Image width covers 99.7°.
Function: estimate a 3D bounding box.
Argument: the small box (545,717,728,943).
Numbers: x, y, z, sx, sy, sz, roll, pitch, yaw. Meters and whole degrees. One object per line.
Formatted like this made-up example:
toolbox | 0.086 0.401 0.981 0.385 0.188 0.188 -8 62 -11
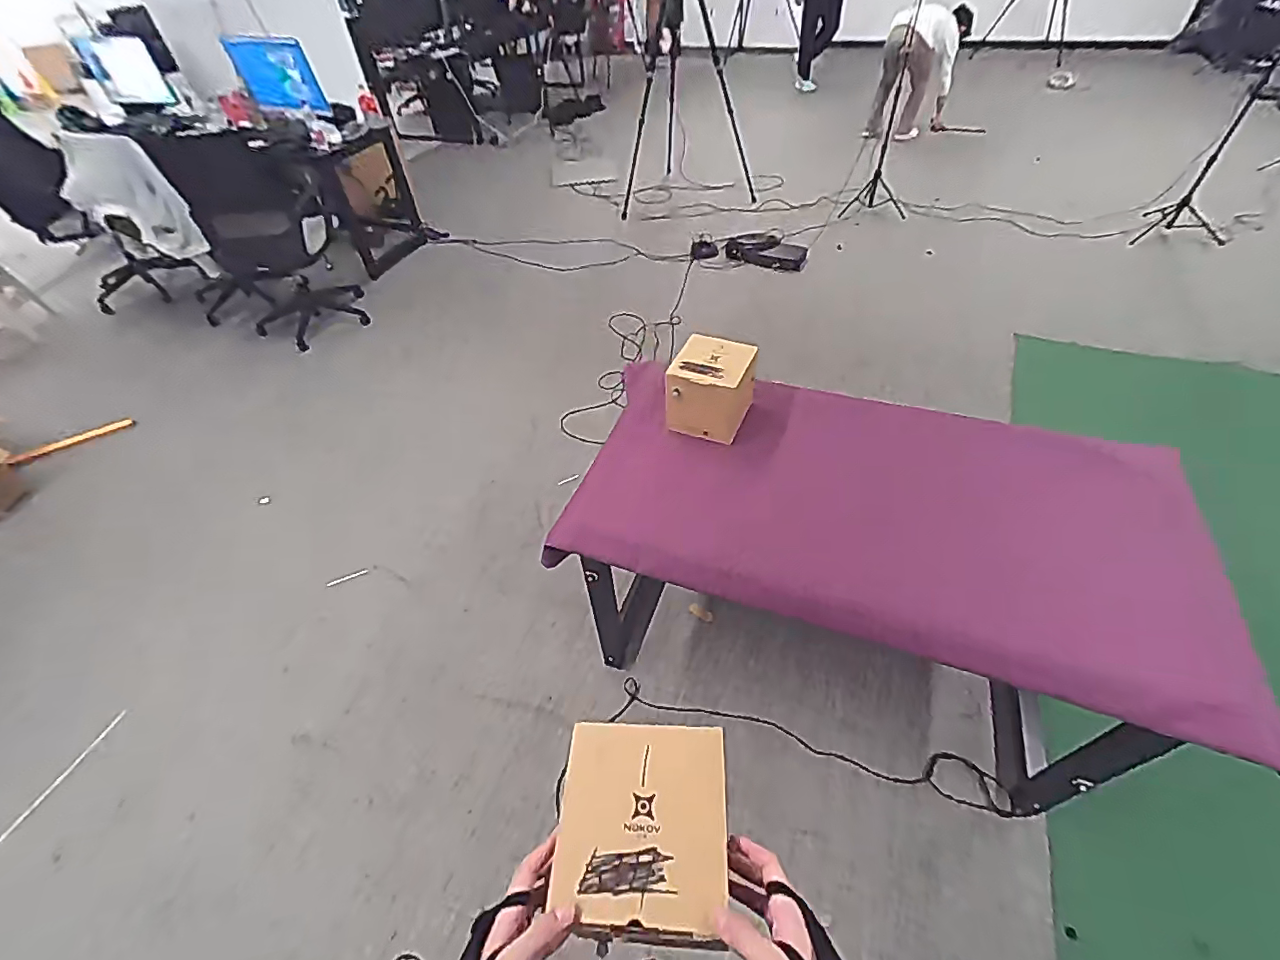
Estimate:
small box | 0.011 0.378 0.584 0.168 0.176 0.179 -1 46 7
